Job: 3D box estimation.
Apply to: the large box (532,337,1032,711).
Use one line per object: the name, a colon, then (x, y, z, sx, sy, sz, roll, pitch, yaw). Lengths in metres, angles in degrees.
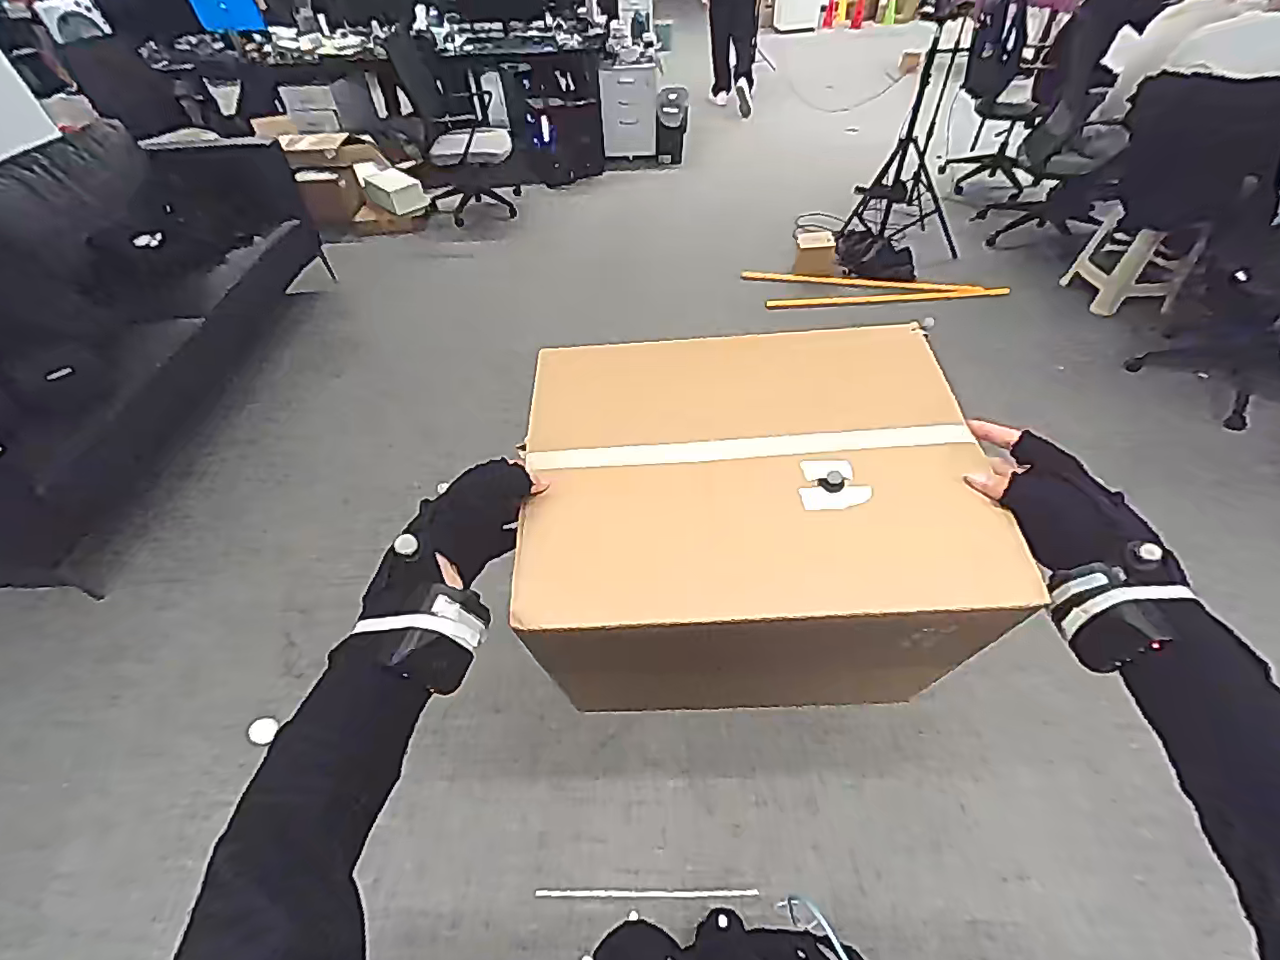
large box: (0.111, 0.065, 0.629, 0.408, 0.320, 0.320, -3, 56, 2)
